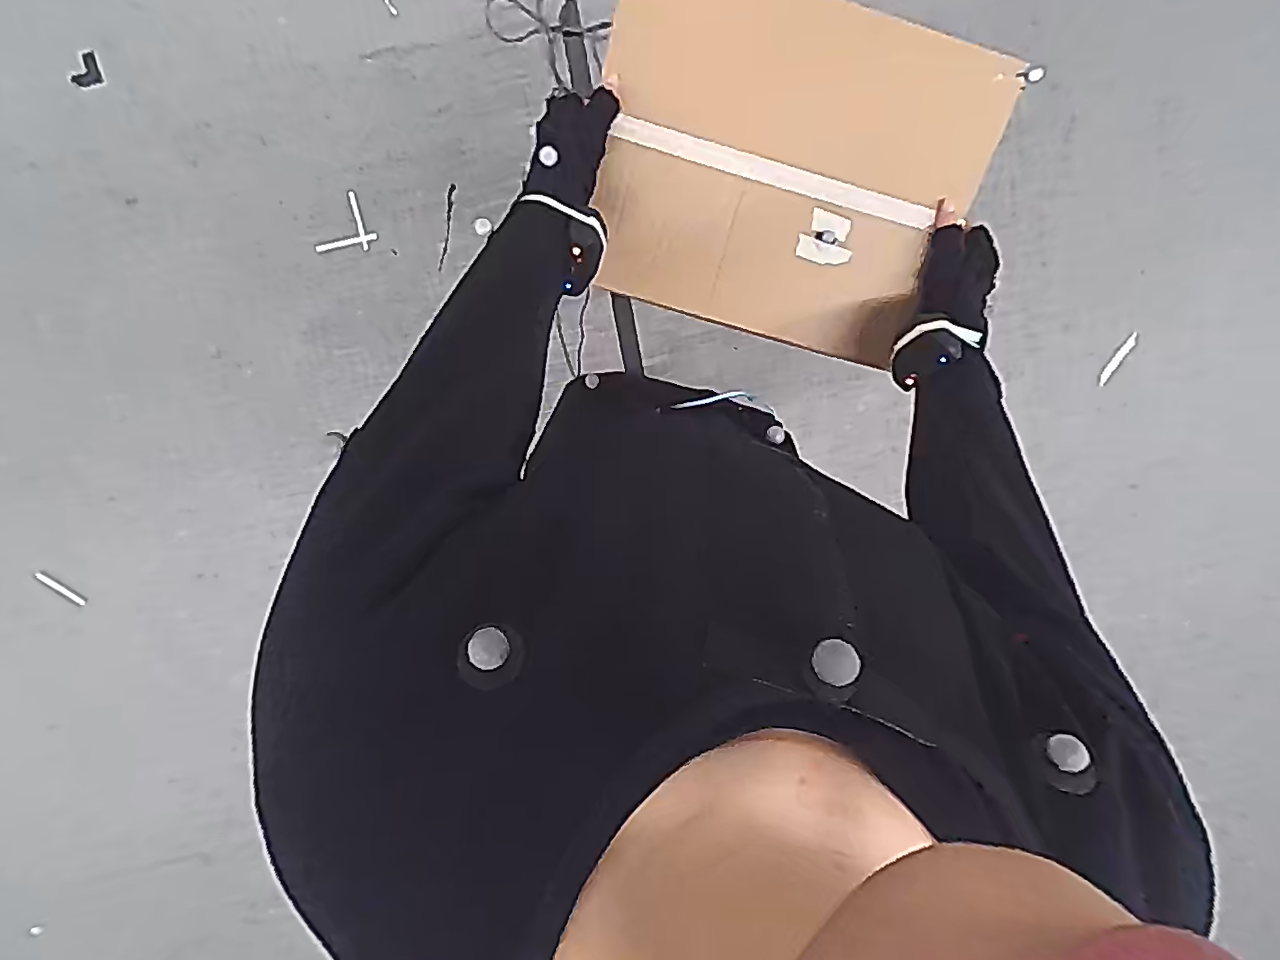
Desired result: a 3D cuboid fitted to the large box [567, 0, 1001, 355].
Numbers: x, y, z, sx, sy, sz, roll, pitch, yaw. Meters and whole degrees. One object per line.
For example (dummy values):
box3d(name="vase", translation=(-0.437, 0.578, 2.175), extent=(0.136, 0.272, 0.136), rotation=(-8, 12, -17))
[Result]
box3d(name="large box", translation=(0.141, -0.378, 0.722), extent=(0.408, 0.320, 0.320), rotation=(14, 109, -5))
